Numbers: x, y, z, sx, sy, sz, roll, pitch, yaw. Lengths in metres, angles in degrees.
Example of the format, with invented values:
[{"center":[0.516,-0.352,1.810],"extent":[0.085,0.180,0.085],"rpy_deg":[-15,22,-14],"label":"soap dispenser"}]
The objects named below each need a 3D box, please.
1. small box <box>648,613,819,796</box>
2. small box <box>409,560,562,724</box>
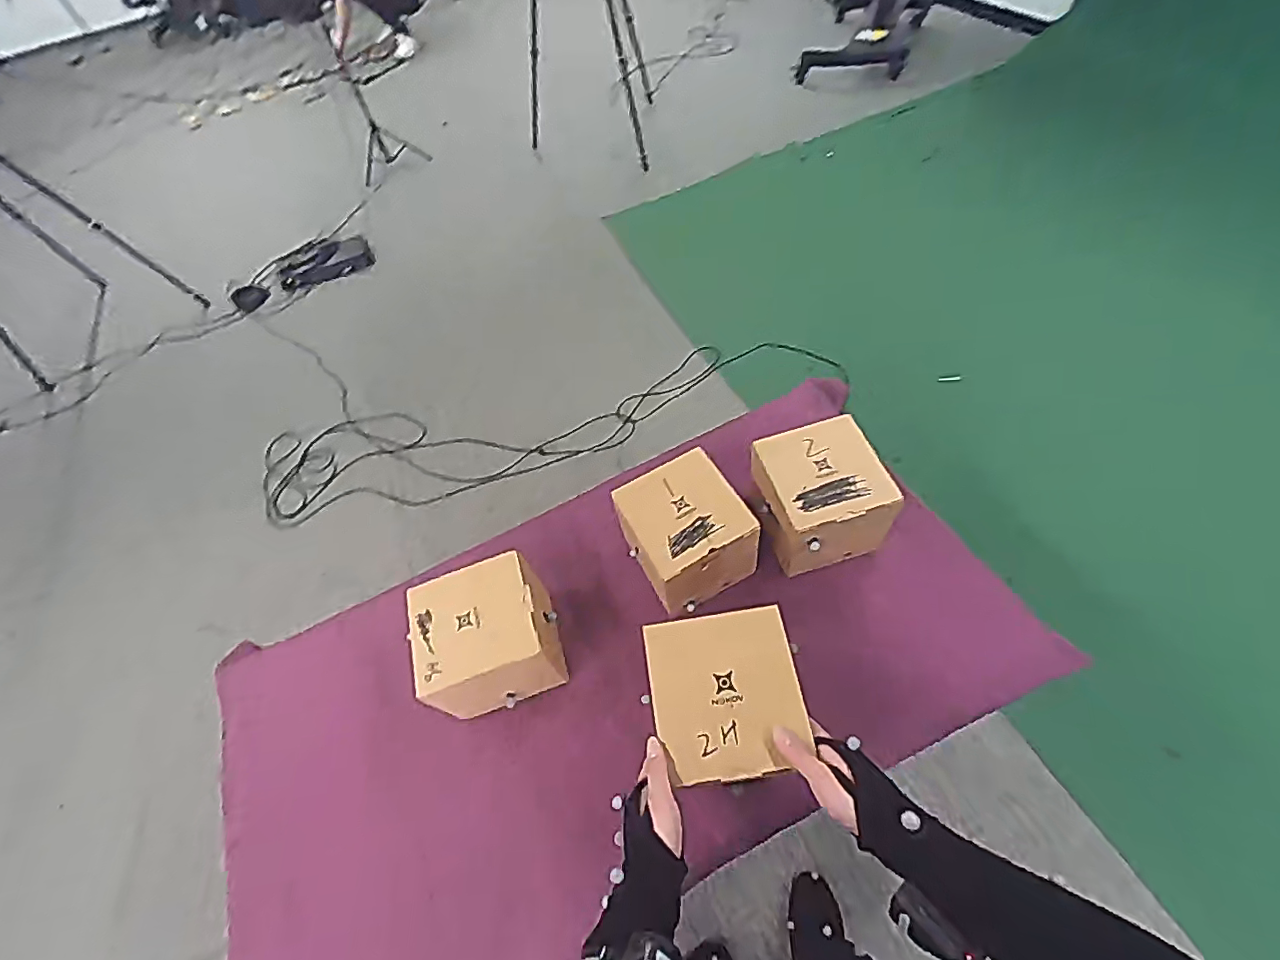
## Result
[{"center":[0.104,0.282,0.667],"extent":[0.168,0.176,0.179],"rpy_deg":[-8,59,3],"label":"small box"},{"center":[-0.227,0.251,0.827],"extent":[0.179,0.176,0.168],"rpy_deg":[-19,56,-5],"label":"small box"}]
